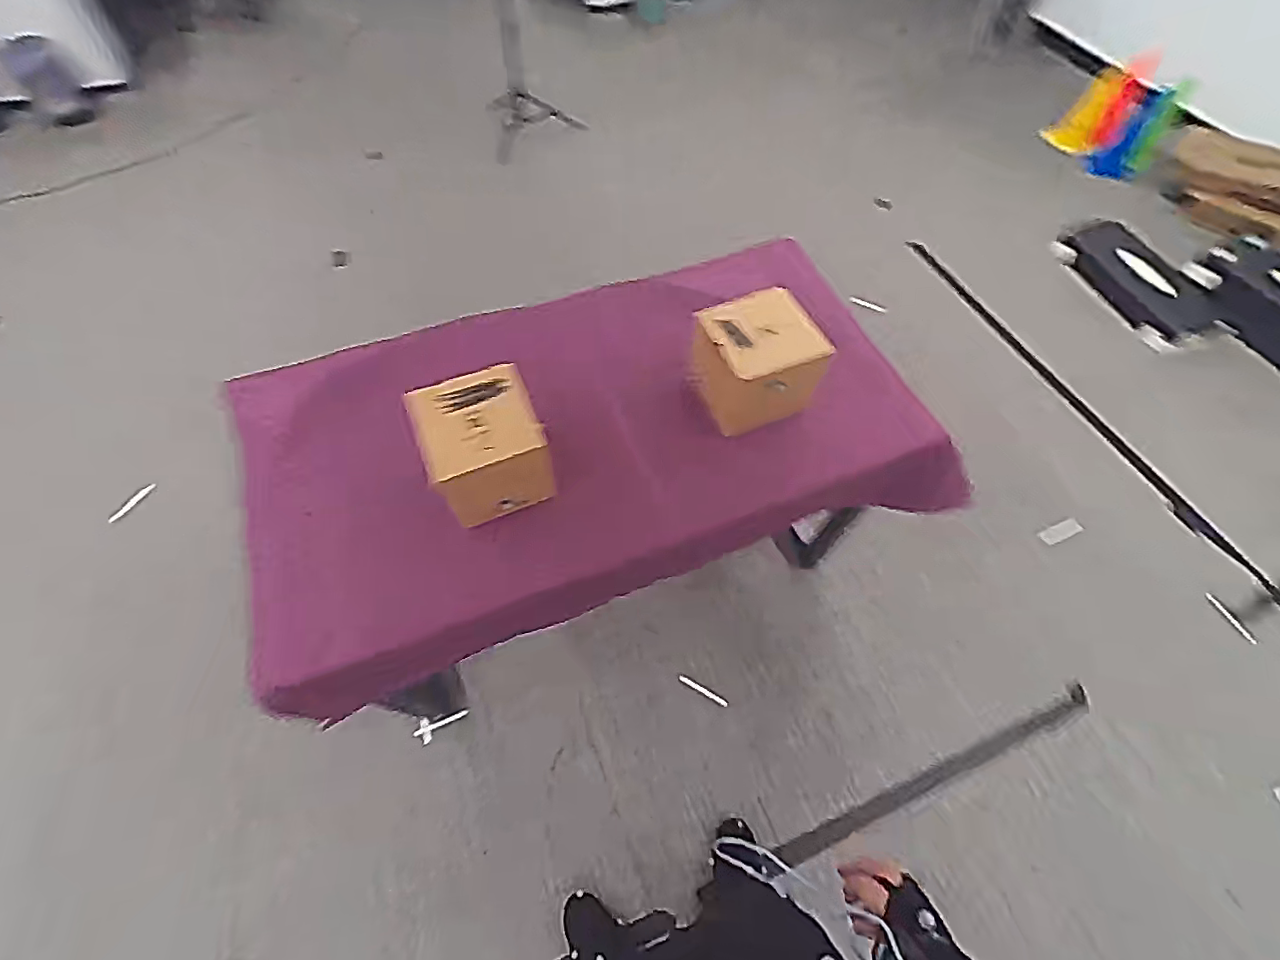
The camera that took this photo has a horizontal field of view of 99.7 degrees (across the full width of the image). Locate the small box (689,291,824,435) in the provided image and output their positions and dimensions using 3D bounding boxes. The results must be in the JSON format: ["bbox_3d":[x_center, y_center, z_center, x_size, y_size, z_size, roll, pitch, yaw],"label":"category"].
[{"bbox_3d":[0.198,-0.207,0.984,0.179,0.176,0.168,-21,63,-13],"label":"small box"}]
